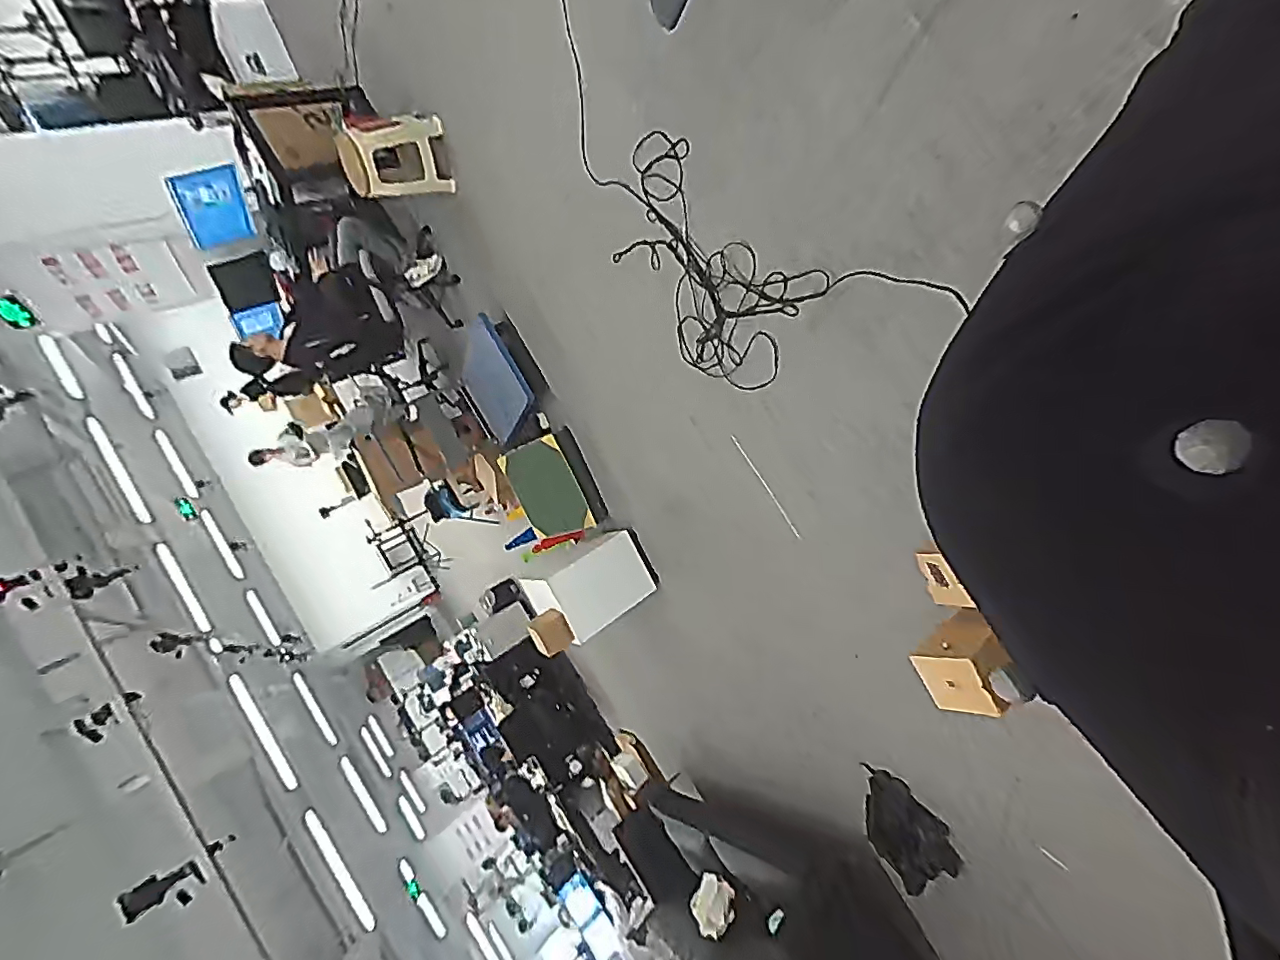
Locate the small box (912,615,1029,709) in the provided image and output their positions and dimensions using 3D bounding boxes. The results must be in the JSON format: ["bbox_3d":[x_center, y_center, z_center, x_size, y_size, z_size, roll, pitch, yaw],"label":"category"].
[{"bbox_3d":[0.868,0.469,1.421,0.168,0.176,0.179,60,151,0],"label":"small box"}]
